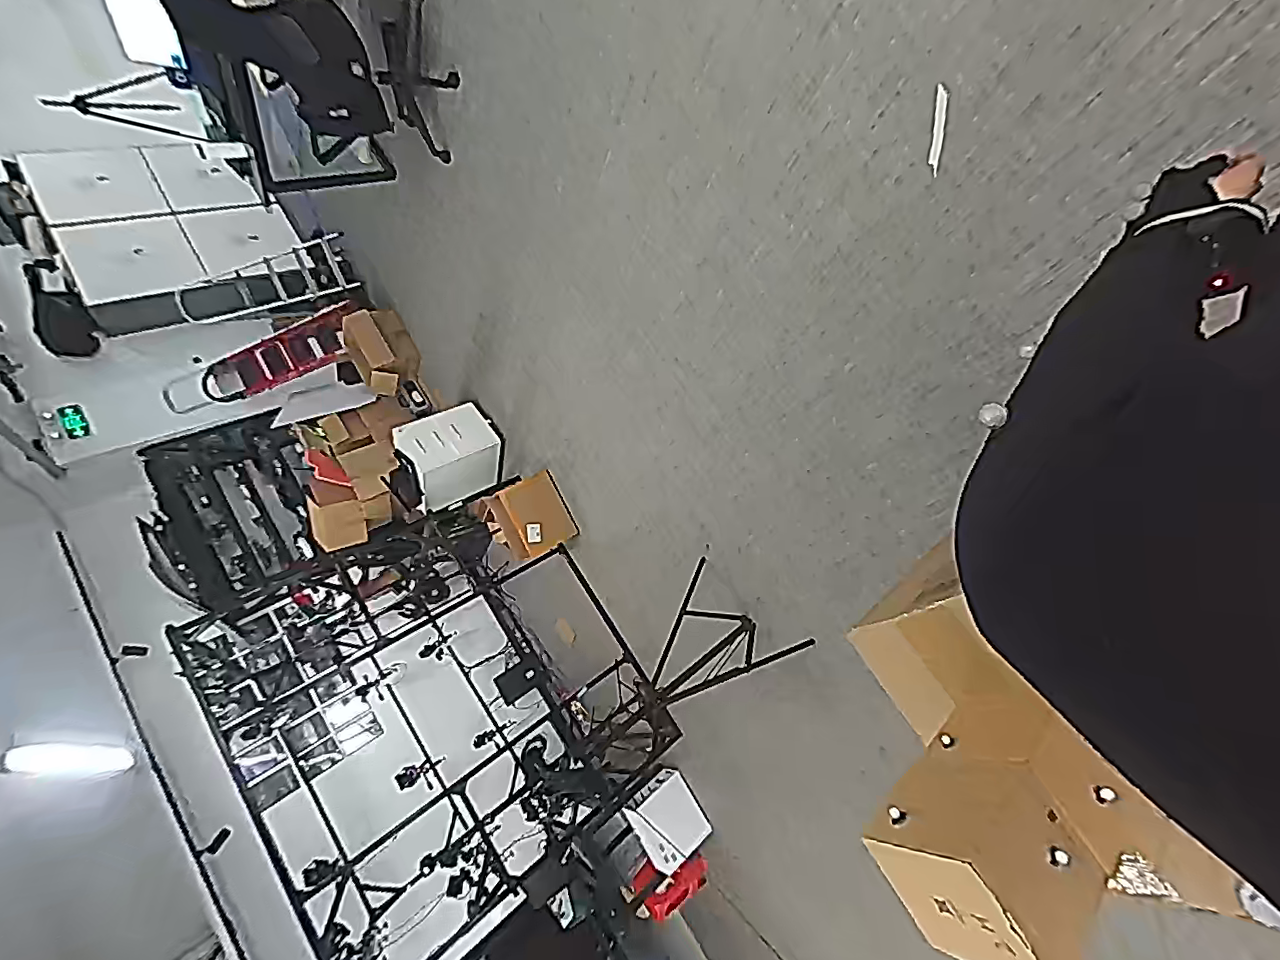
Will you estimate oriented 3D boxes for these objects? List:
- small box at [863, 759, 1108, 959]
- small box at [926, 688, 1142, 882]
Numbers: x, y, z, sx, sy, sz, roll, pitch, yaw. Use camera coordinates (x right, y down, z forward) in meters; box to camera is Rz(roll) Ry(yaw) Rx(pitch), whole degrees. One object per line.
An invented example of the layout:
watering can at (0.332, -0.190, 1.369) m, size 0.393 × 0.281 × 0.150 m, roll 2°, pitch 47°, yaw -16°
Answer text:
small box at (0.436, 0.486, 0.691) m, size 0.168 × 0.176 × 0.179 m, roll 56°, pitch 148°, yaw 7°
small box at (0.563, 0.419, 0.772) m, size 0.168 × 0.176 × 0.179 m, roll 56°, pitch 148°, yaw 9°
